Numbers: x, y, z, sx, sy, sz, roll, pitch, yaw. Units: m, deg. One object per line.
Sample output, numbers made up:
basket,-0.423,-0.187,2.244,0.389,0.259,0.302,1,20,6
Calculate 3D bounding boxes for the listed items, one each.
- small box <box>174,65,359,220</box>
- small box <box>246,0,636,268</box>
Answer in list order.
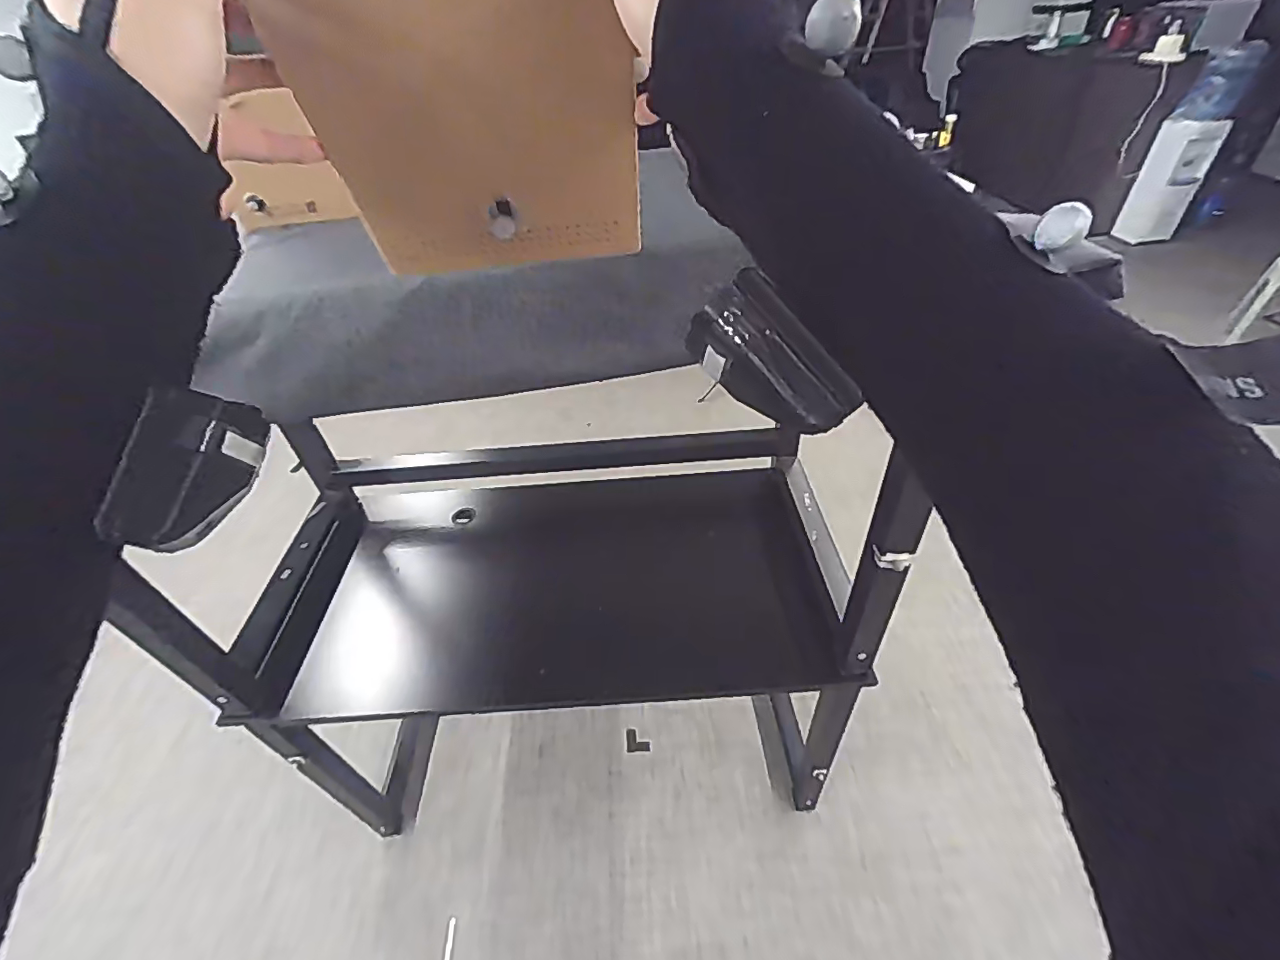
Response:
small box,-0.486,-0.480,0.769,0.168,0.176,0.179,-7,41,-2
small box,-0.096,-0.258,0.337,0.179,0.176,0.168,-6,63,-2
